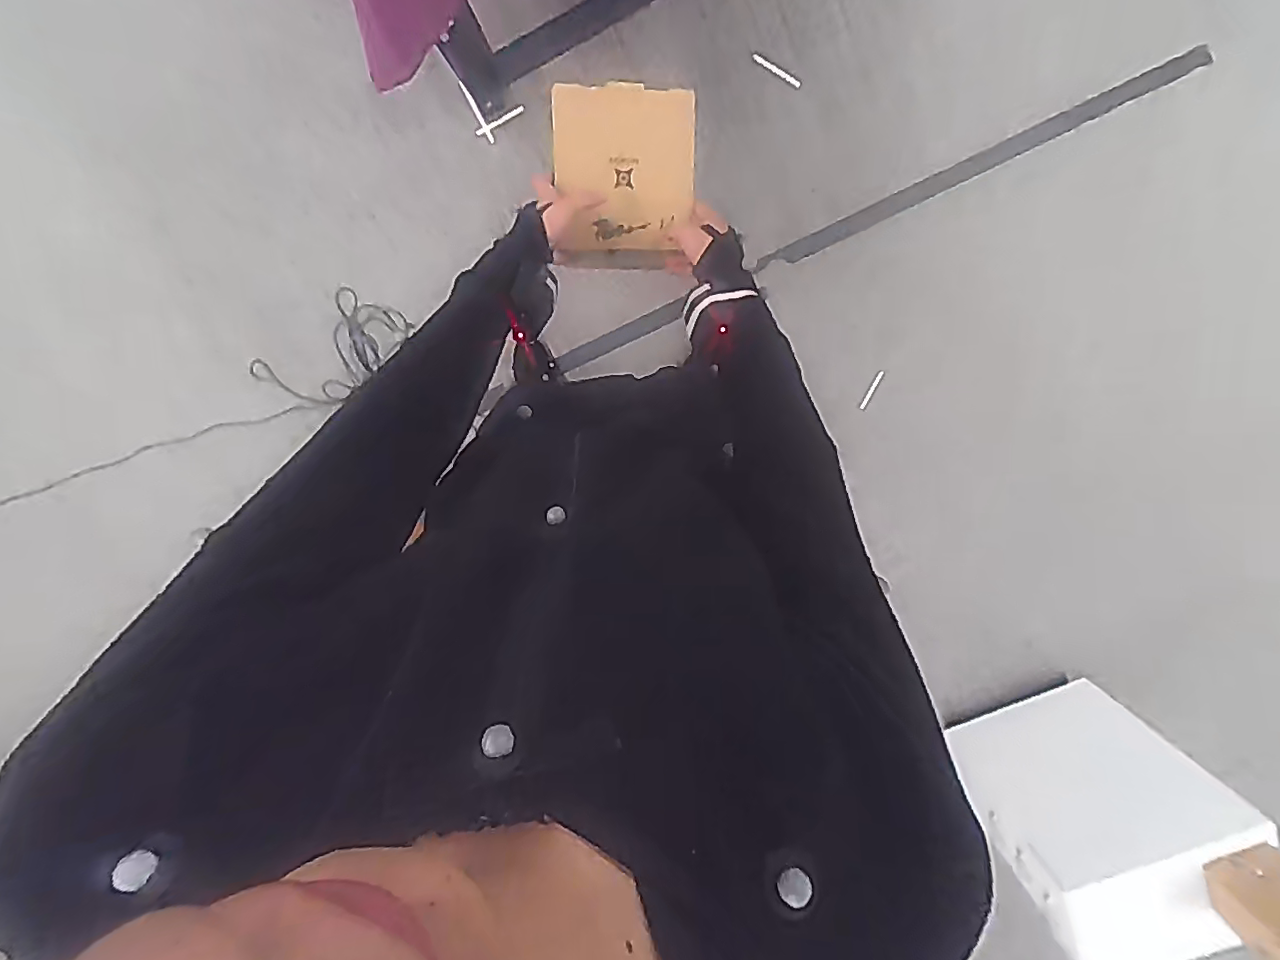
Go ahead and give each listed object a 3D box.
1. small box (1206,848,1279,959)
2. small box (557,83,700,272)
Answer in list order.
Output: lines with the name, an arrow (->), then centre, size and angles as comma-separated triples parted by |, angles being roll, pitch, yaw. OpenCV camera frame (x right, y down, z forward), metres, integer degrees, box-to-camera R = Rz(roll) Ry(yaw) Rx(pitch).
small box -> 1.491, 1.013, 1.260 | 0.168, 0.176, 0.179 | -25, 106, 7
small box -> -0.020, -0.376, 0.704 | 0.168, 0.176, 0.179 | -1, 105, -4
